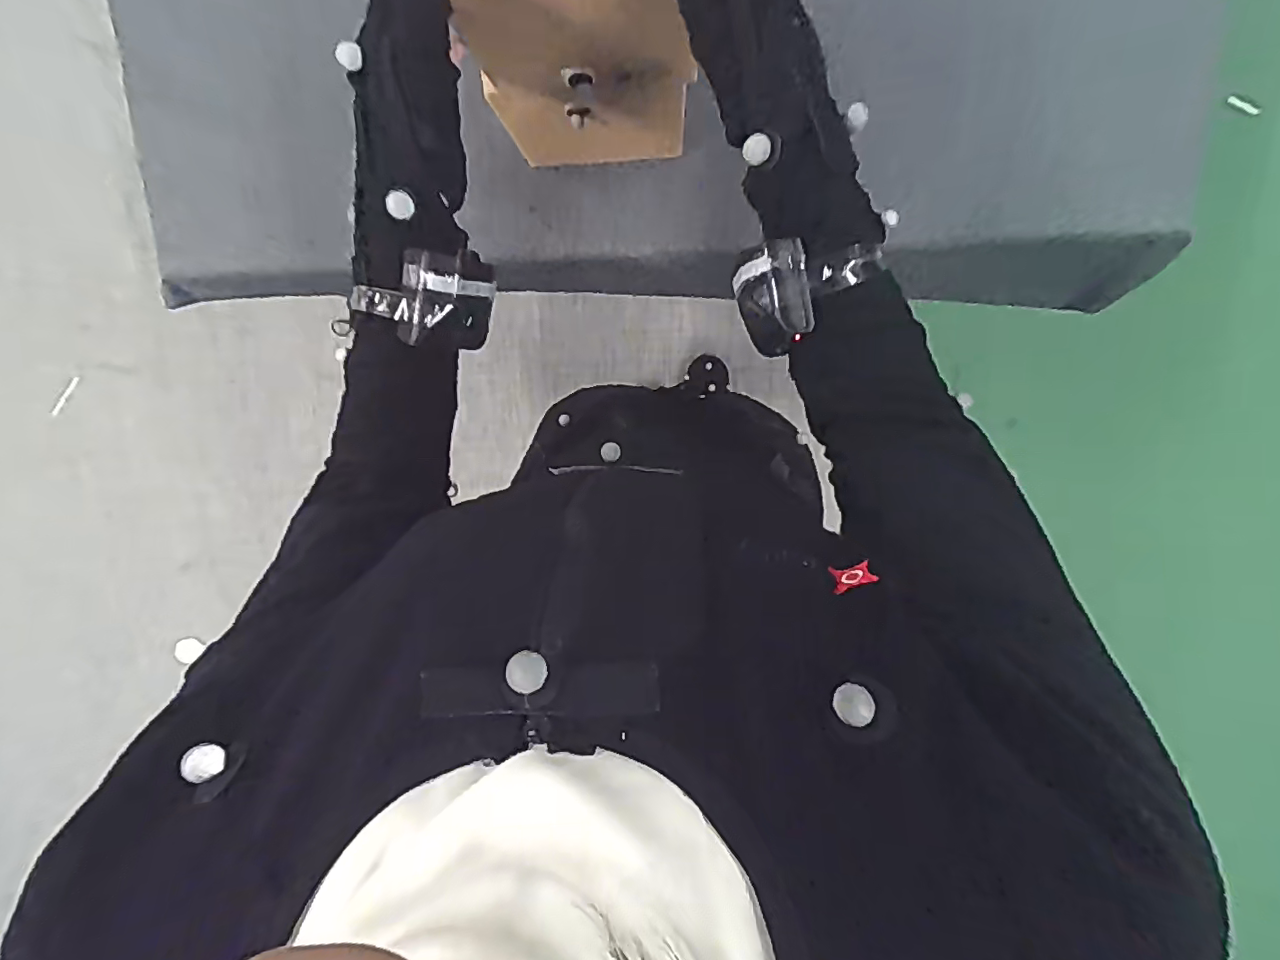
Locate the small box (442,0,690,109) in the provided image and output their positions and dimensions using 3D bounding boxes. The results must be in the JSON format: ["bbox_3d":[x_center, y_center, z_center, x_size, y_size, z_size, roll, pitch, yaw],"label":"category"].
[{"bbox_3d":[-0.054,-0.395,0.367,0.168,0.176,0.179,-5,102,6],"label":"small box"}]

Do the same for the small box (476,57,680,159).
[{"bbox_3d":[-0.050,-0.433,0.526,0.179,0.176,0.168,-1,101,4],"label":"small box"}]
